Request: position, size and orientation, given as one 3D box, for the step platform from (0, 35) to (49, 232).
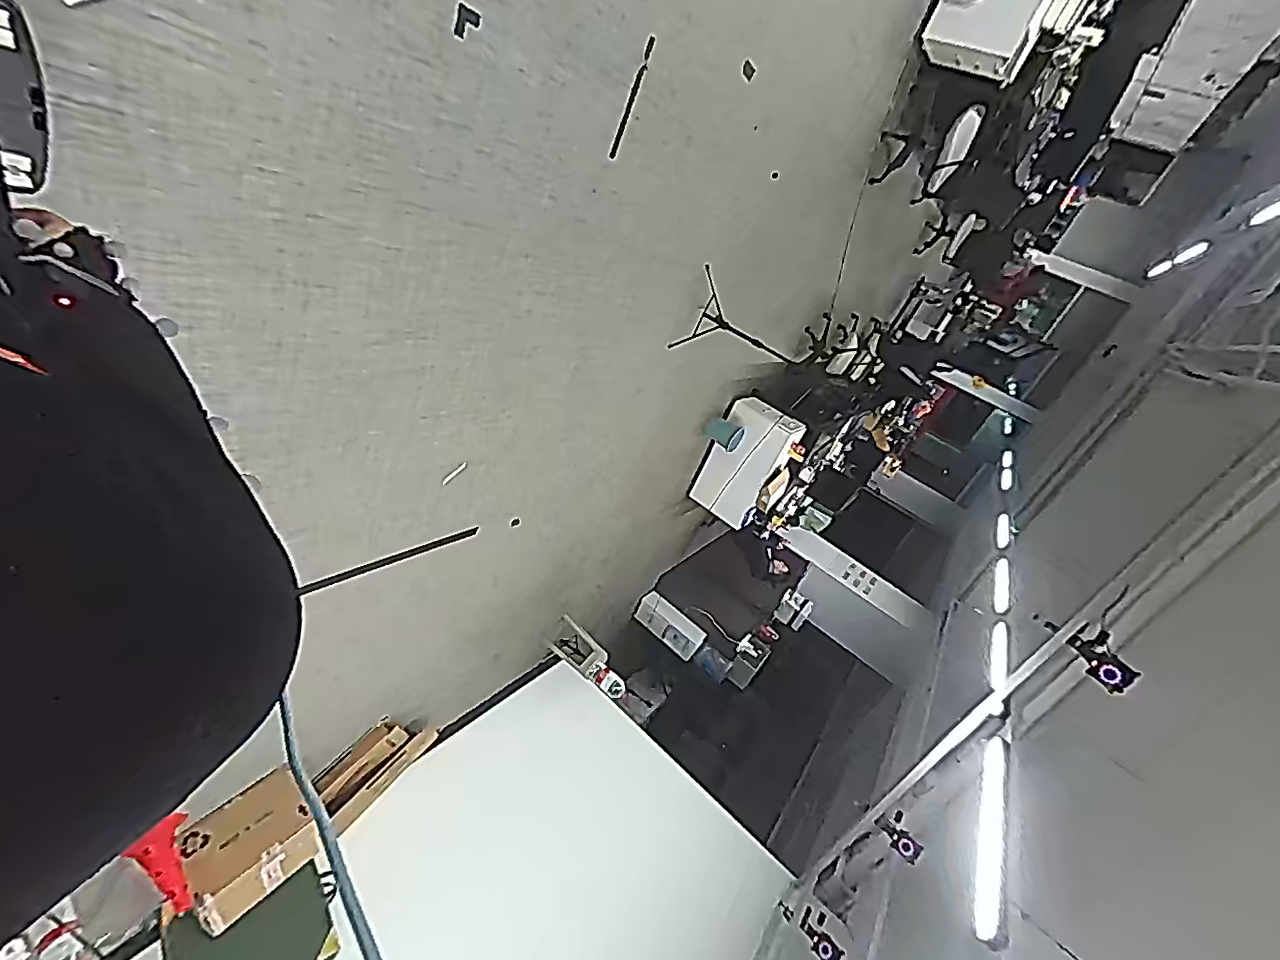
[{"bbox_3d":[-1.202,-0.534,0.637,0.684,0.204,0.286,-12,132,-57],"label":"step platform"}]
